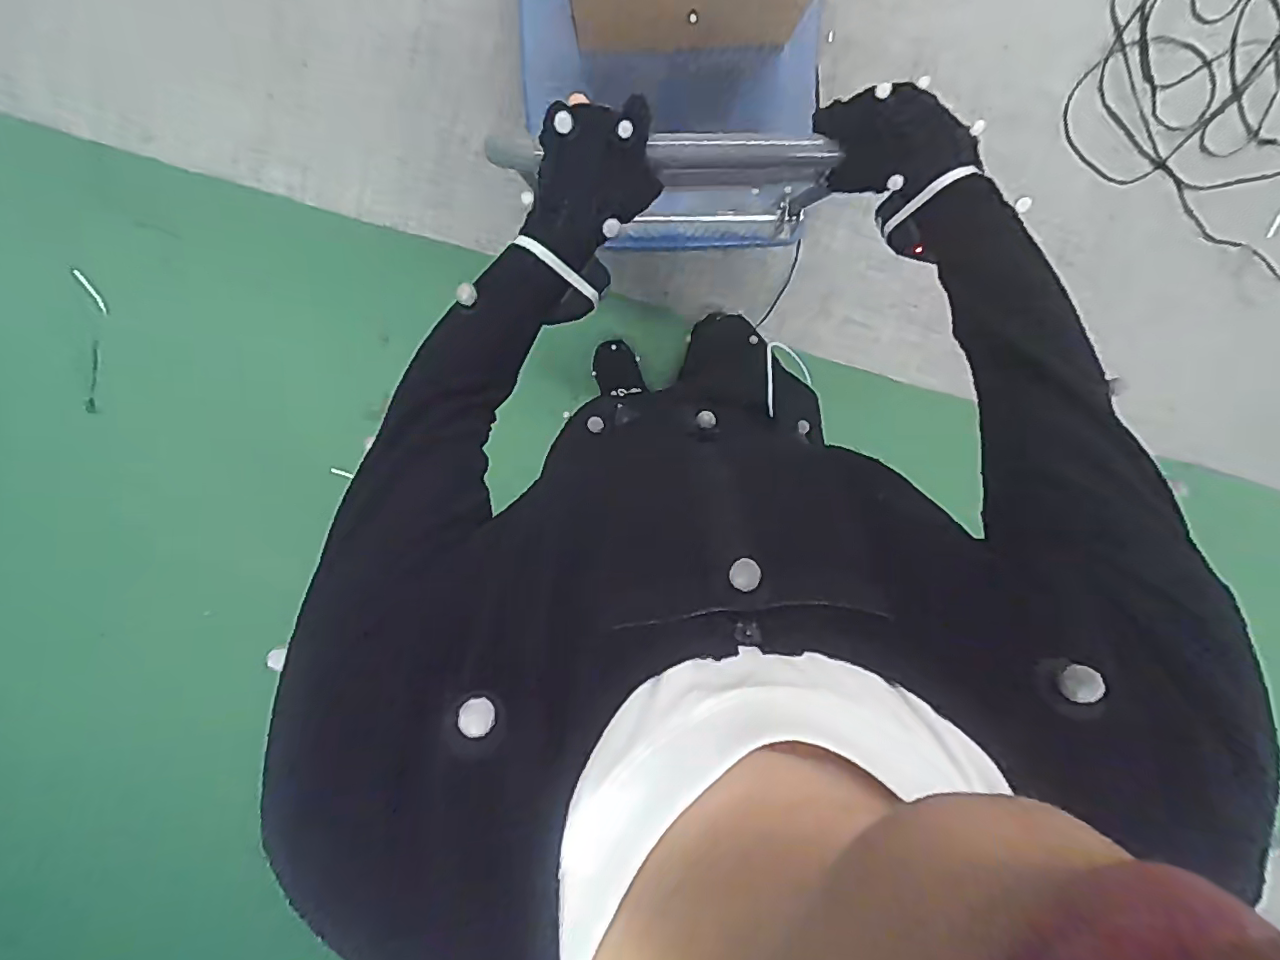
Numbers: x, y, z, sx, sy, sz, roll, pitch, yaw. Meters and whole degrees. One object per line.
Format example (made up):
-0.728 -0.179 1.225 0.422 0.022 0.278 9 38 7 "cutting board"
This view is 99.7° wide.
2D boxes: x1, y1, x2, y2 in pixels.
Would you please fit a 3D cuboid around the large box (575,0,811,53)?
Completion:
0.086 -0.942 0.869 0.408 0.320 0.320 -3 107 0 "large box"
